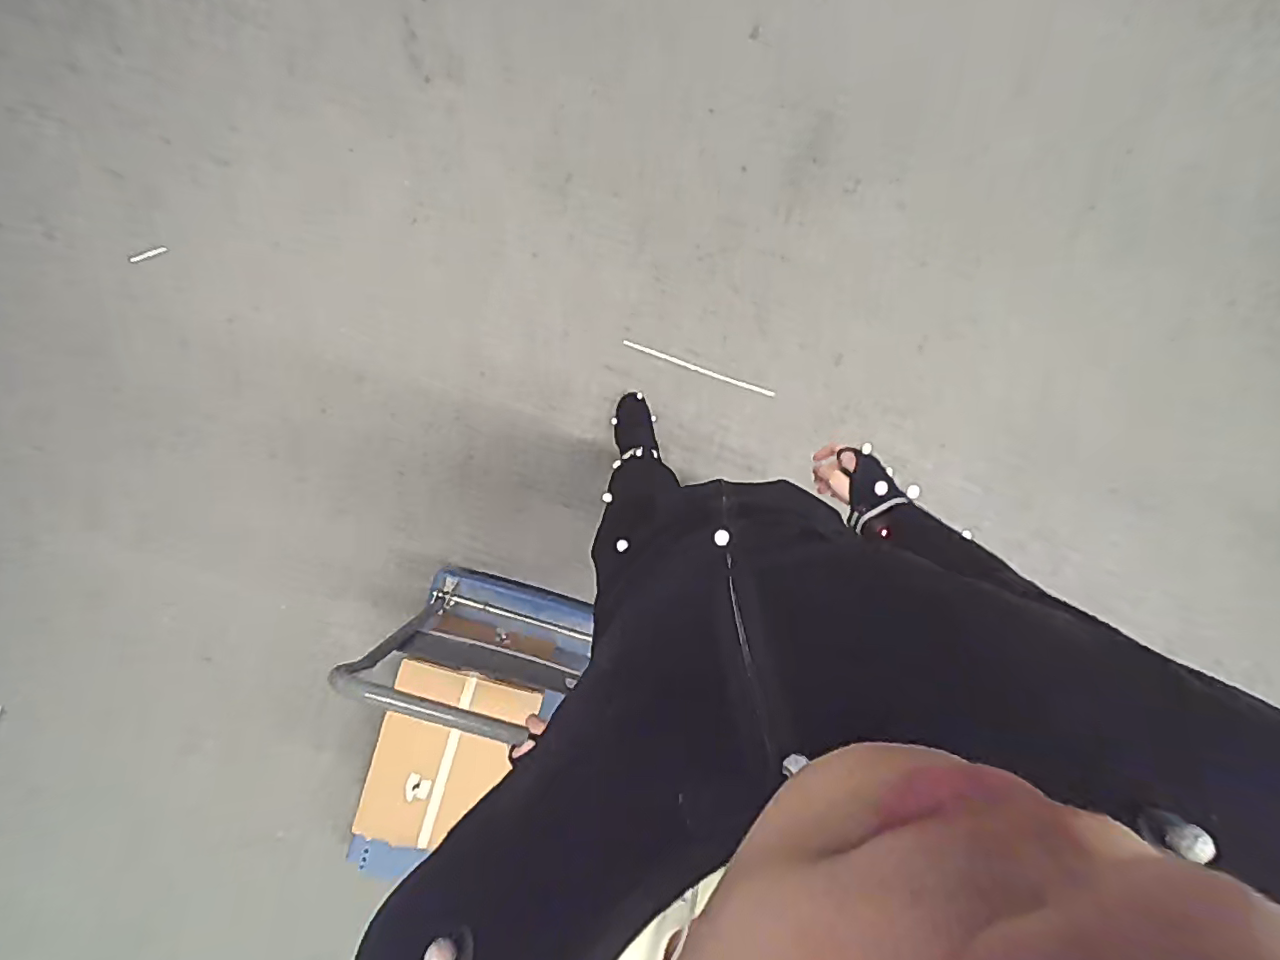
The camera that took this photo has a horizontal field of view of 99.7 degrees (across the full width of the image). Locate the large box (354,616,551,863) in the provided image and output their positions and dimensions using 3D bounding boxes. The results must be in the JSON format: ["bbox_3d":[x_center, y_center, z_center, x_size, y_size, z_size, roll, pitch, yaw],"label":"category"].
[{"bbox_3d":[-0.421,0.592,1.300,0.320,0.320,0.408,18,92,-5],"label":"large box"}]
